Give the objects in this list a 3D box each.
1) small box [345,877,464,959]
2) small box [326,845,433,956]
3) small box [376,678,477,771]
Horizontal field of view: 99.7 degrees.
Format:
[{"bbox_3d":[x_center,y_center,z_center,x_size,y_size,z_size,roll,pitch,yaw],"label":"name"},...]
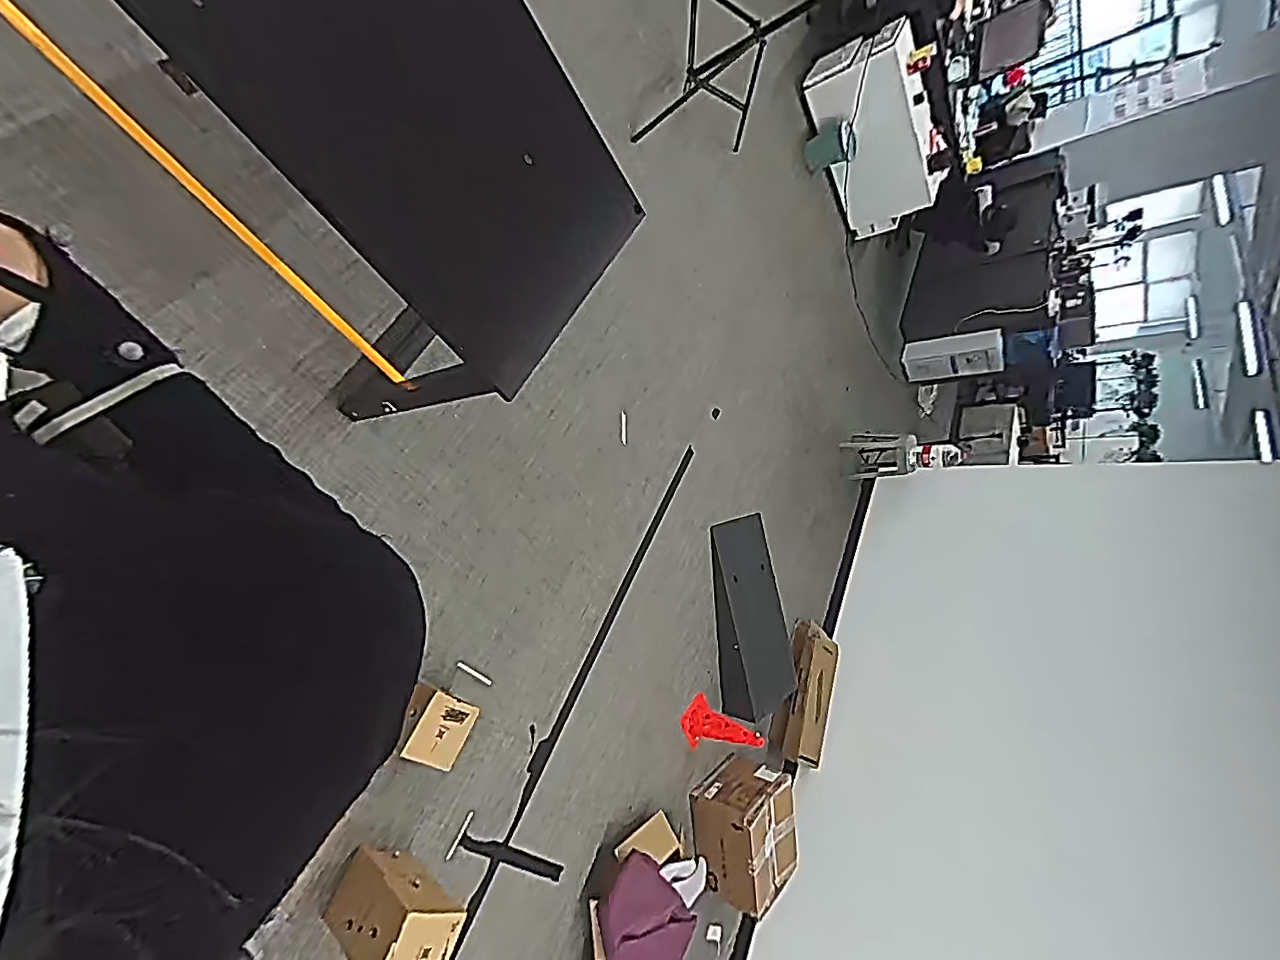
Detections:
[{"bbox_3d":[-0.571,1.094,1.308,0.179,0.176,0.168,42,60,-39],"label":"small box"},{"bbox_3d":[-0.689,1.102,1.421,0.168,0.176,0.179,44,59,-39],"label":"small box"},{"bbox_3d":[-0.603,0.679,1.517,0.168,0.176,0.179,47,57,-37],"label":"small box"}]
